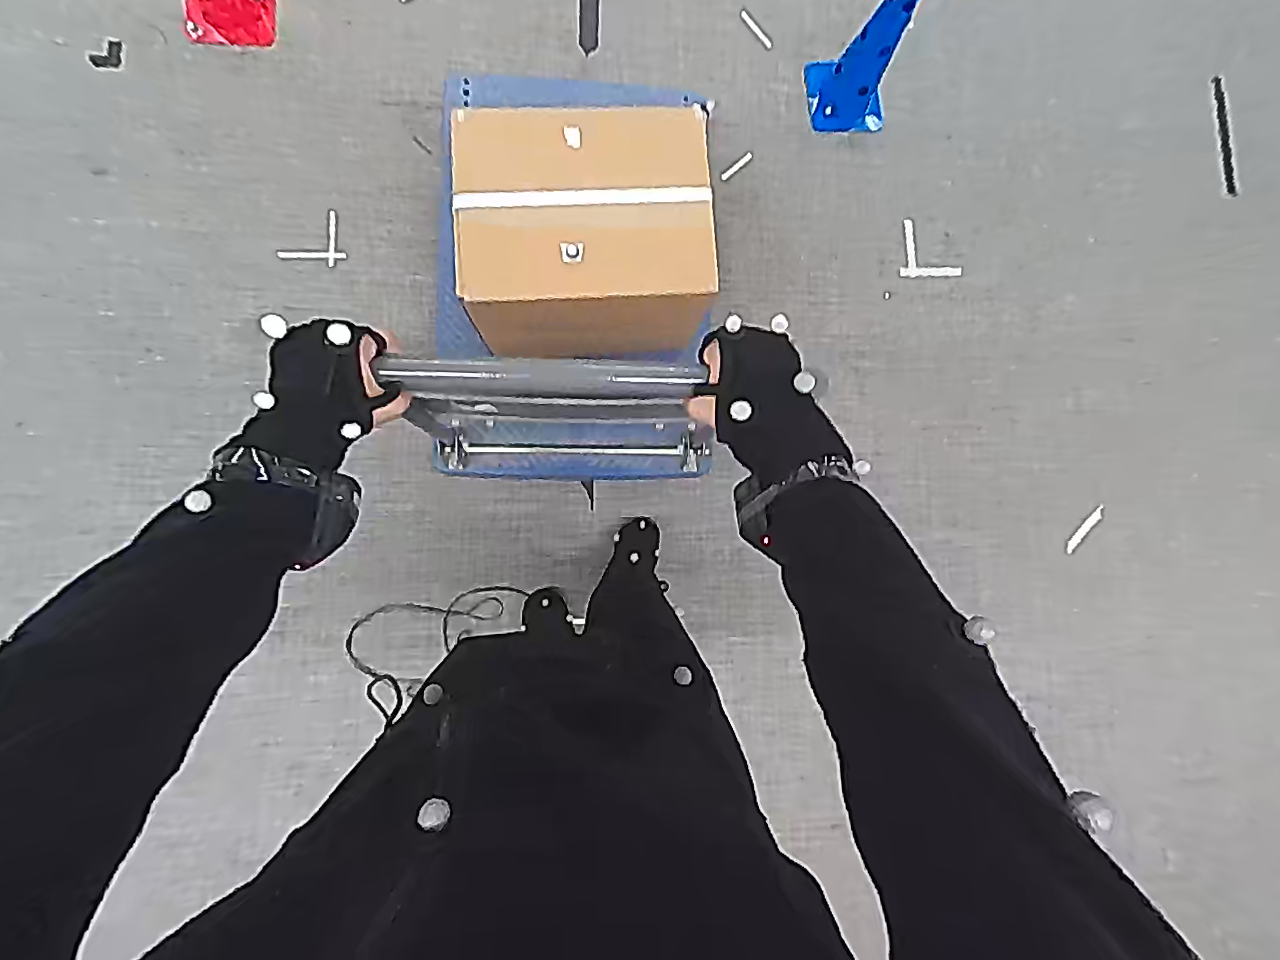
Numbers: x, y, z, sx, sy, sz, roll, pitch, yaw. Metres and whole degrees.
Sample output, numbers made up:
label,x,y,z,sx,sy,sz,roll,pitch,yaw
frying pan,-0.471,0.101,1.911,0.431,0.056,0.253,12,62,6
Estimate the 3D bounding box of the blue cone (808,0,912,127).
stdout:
label,x,y,z,sx,sy,sz,roll,pitch,yaw
blue cone,0.566,-1.049,1.282,0.193,0.380,0.192,-4,85,-6
